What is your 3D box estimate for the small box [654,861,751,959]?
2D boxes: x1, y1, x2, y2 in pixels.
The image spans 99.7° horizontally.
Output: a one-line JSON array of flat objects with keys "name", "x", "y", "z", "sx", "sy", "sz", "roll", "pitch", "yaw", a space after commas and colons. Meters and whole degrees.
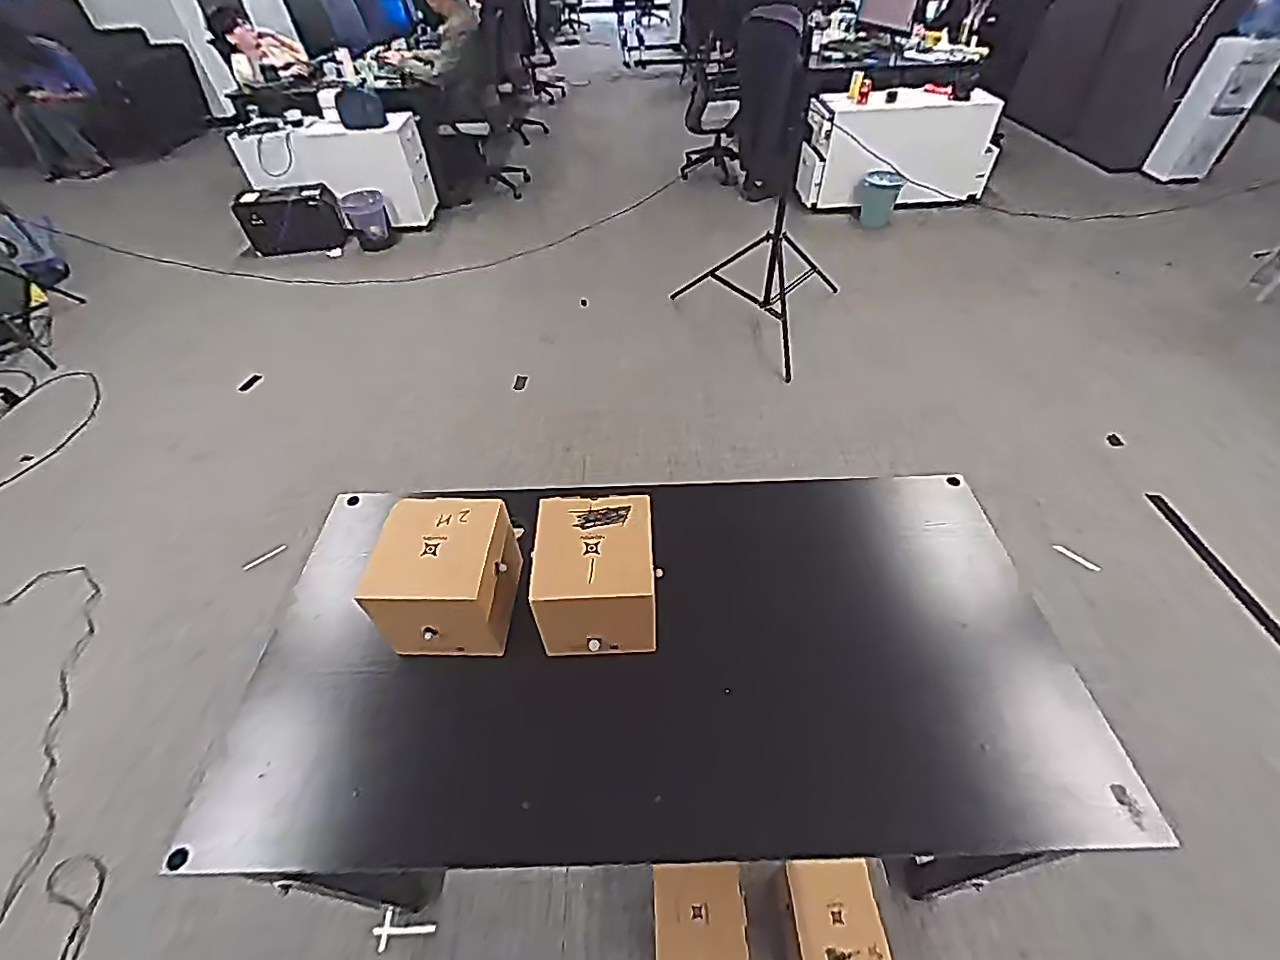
[{"name": "small box", "x": 0.119, "y": 0.894, "z": 1.107, "sx": 0.179, "sy": 0.176, "sz": 0.168, "roll": -3, "pitch": 46, "yaw": 1}]

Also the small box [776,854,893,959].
[{"name": "small box", "x": 0.382, "y": 0.884, "z": 1.100, "sx": 0.168, "sy": 0.176, "sz": 0.179, "roll": -4, "pitch": 46, "yaw": 0}]

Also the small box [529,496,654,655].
[{"name": "small box", "x": -0.064, "y": 0.144, "z": 0.817, "sx": 0.168, "sy": 0.176, "sz": 0.179, "roll": -3, "pitch": 48, "yaw": 0}]

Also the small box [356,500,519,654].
[{"name": "small box", "x": -0.289, "y": 0.149, "z": 0.822, "sx": 0.168, "sy": 0.176, "sz": 0.179, "roll": 0, "pitch": 47, "yaw": 2}]
